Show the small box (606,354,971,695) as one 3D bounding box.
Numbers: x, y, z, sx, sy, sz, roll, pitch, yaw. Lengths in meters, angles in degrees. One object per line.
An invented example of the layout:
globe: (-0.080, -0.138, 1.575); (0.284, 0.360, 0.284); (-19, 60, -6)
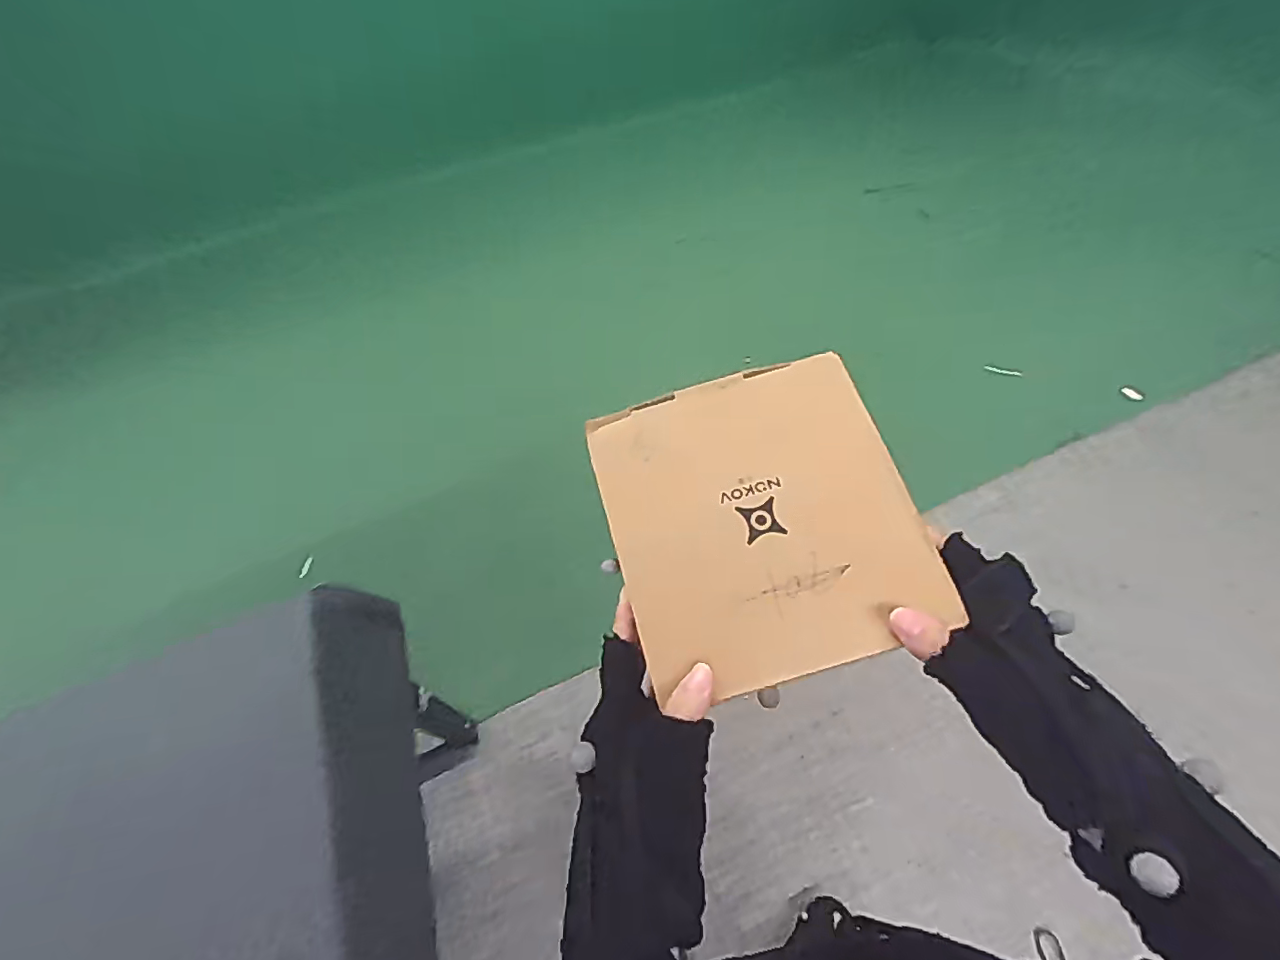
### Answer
small box: (0.082, 0.044, 0.387); (0.168, 0.176, 0.179); (-16, 69, -1)
